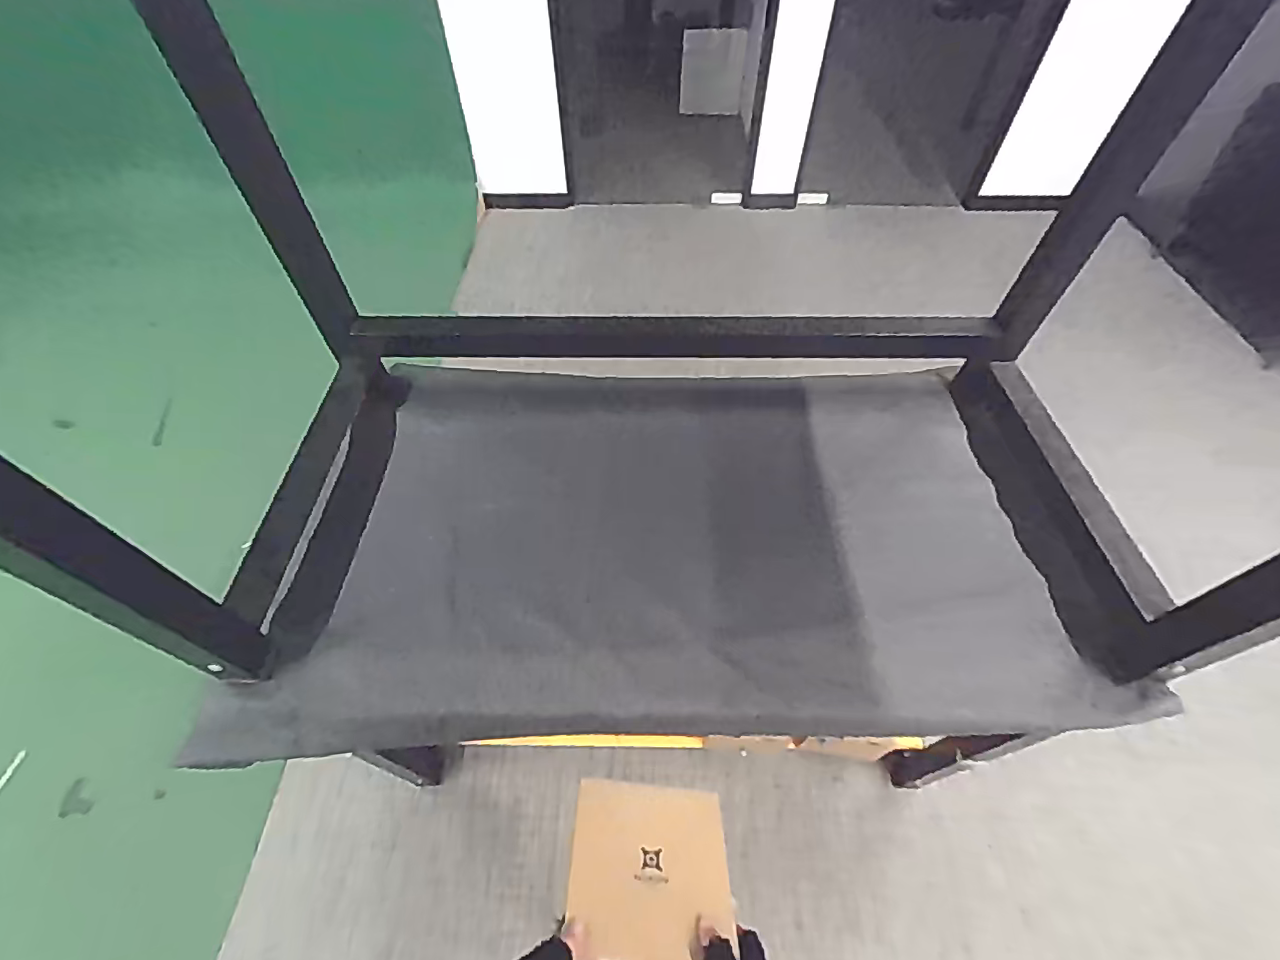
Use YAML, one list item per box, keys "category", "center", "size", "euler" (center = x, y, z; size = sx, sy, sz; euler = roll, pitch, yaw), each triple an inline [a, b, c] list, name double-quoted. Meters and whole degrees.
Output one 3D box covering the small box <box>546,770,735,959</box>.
- category: "small box"
  center: [-0.007, 0.456, 0.585]
  size: [0.168, 0.176, 0.179]
  euler: [9, 26, -4]
